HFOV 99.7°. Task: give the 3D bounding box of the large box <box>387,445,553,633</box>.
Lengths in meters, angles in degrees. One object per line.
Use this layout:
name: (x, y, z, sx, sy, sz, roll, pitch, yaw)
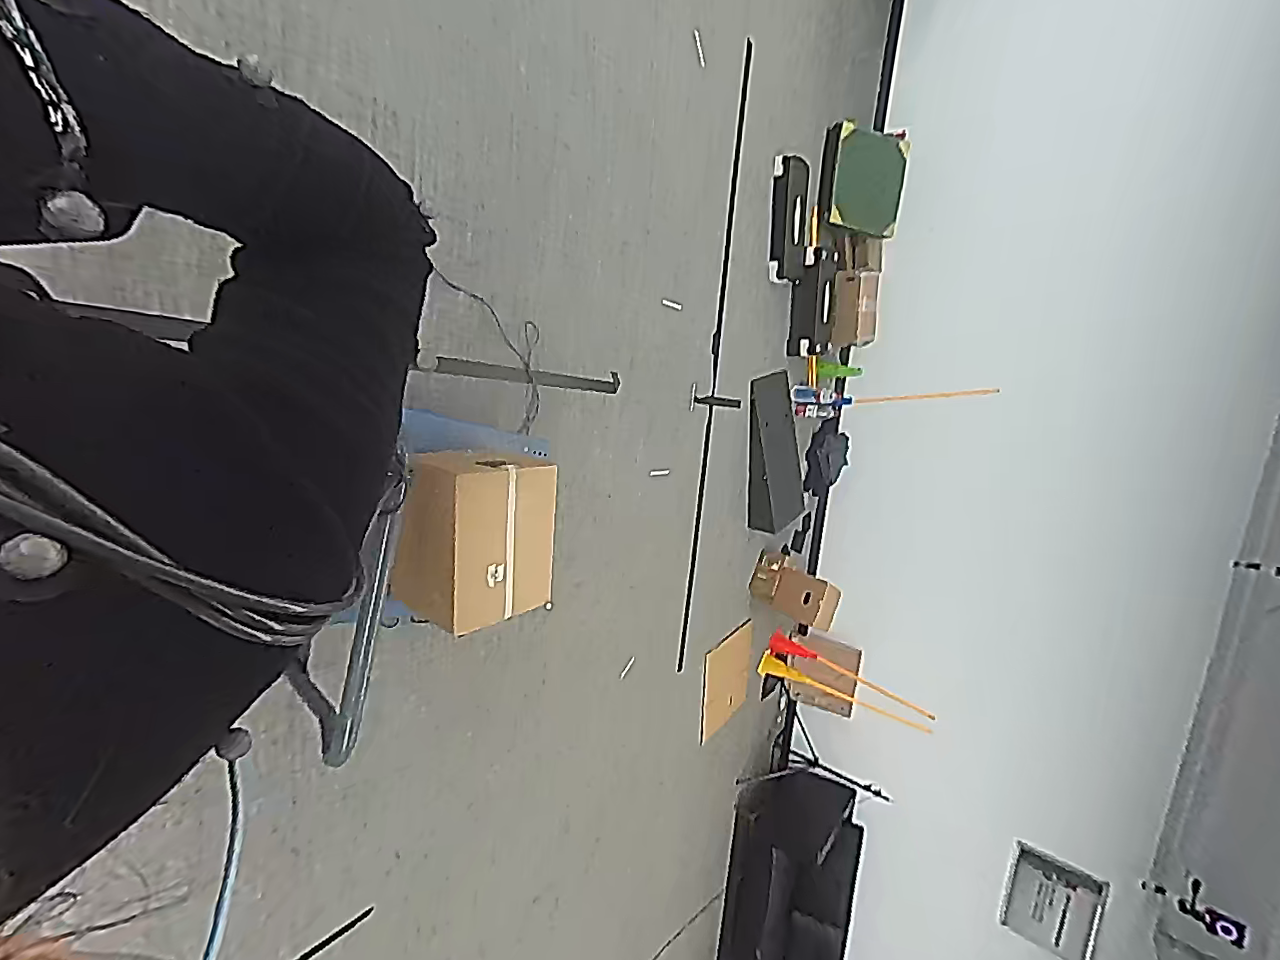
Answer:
large box: (-0.460, 0.132, 1.460, 0.320, 0.320, 0.408, -9, 108, -50)
